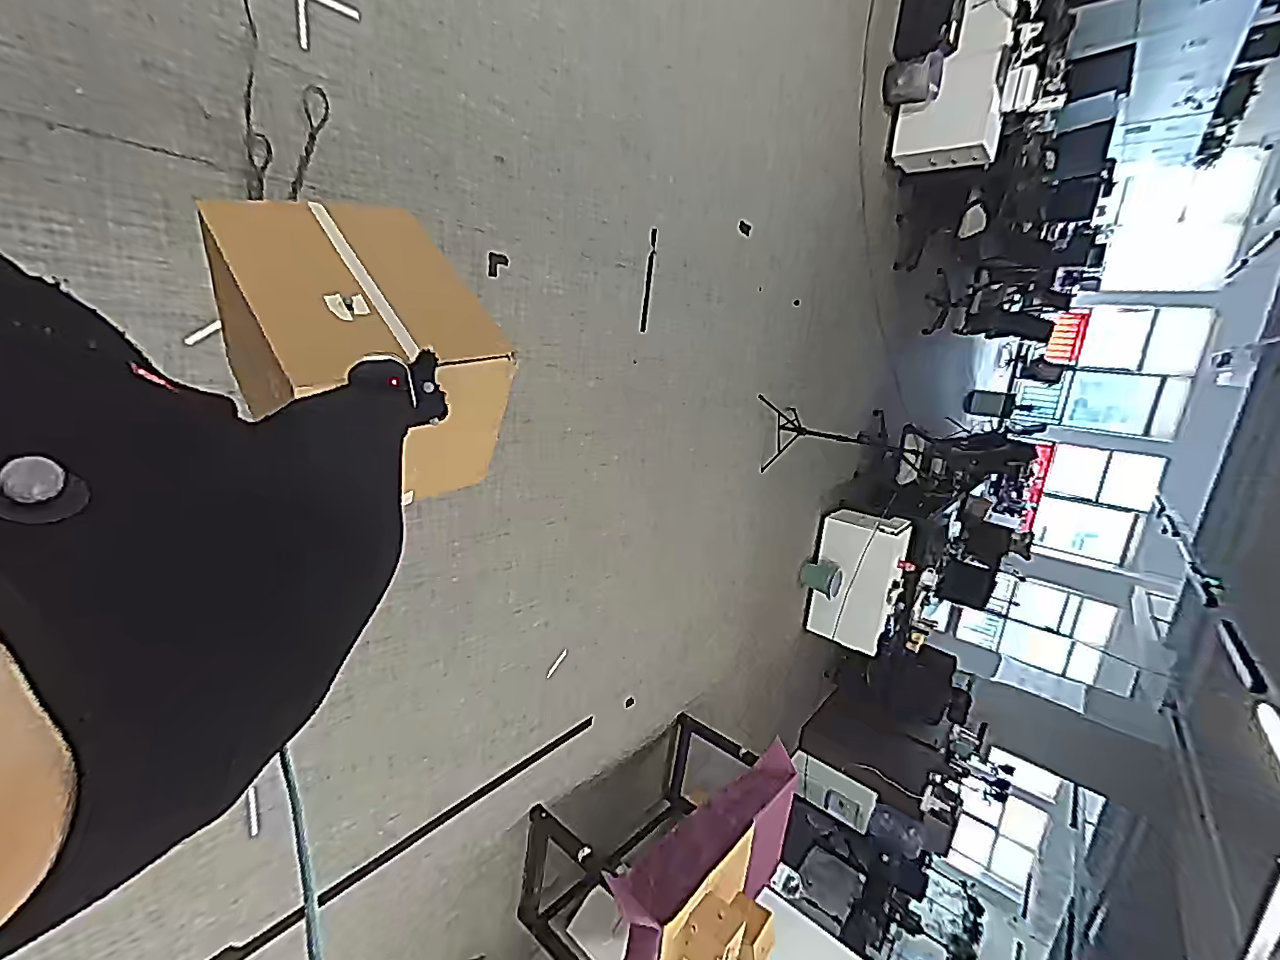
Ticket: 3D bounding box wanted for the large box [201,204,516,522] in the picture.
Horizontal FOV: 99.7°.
[{"bbox_3d":[-0.478,-0.205,0.924,0.320,0.408,0.320,-21,155,-39],"label":"large box"}]
